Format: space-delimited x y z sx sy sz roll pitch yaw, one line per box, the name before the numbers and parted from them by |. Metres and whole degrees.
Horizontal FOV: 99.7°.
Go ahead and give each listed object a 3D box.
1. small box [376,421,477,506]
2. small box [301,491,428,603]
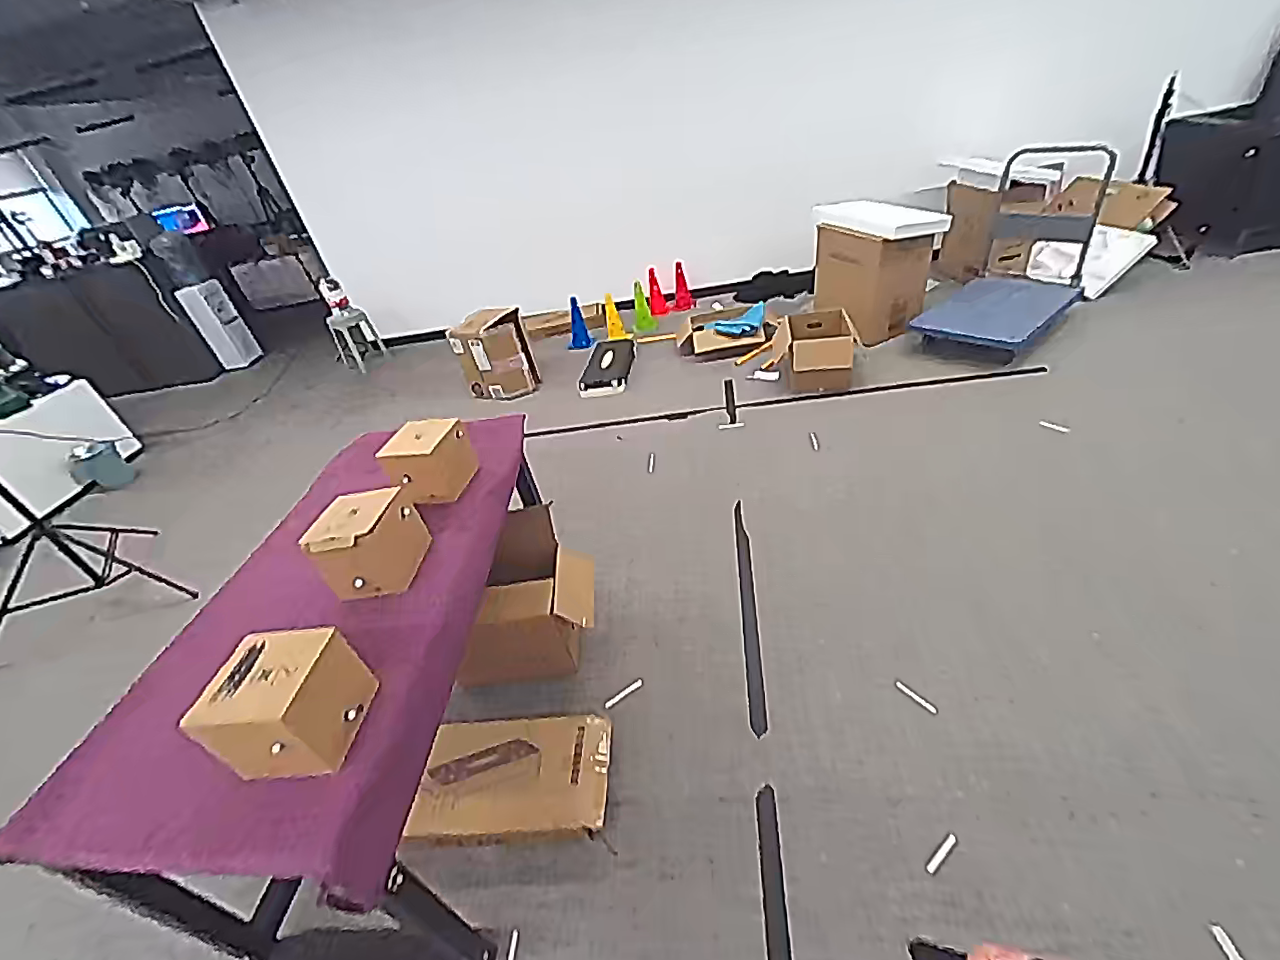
small box | -0.571 -0.039 1.474 0.168 0.176 0.179 -3 36 14
small box | -0.606 0.151 1.220 0.168 0.176 0.179 -9 35 9
